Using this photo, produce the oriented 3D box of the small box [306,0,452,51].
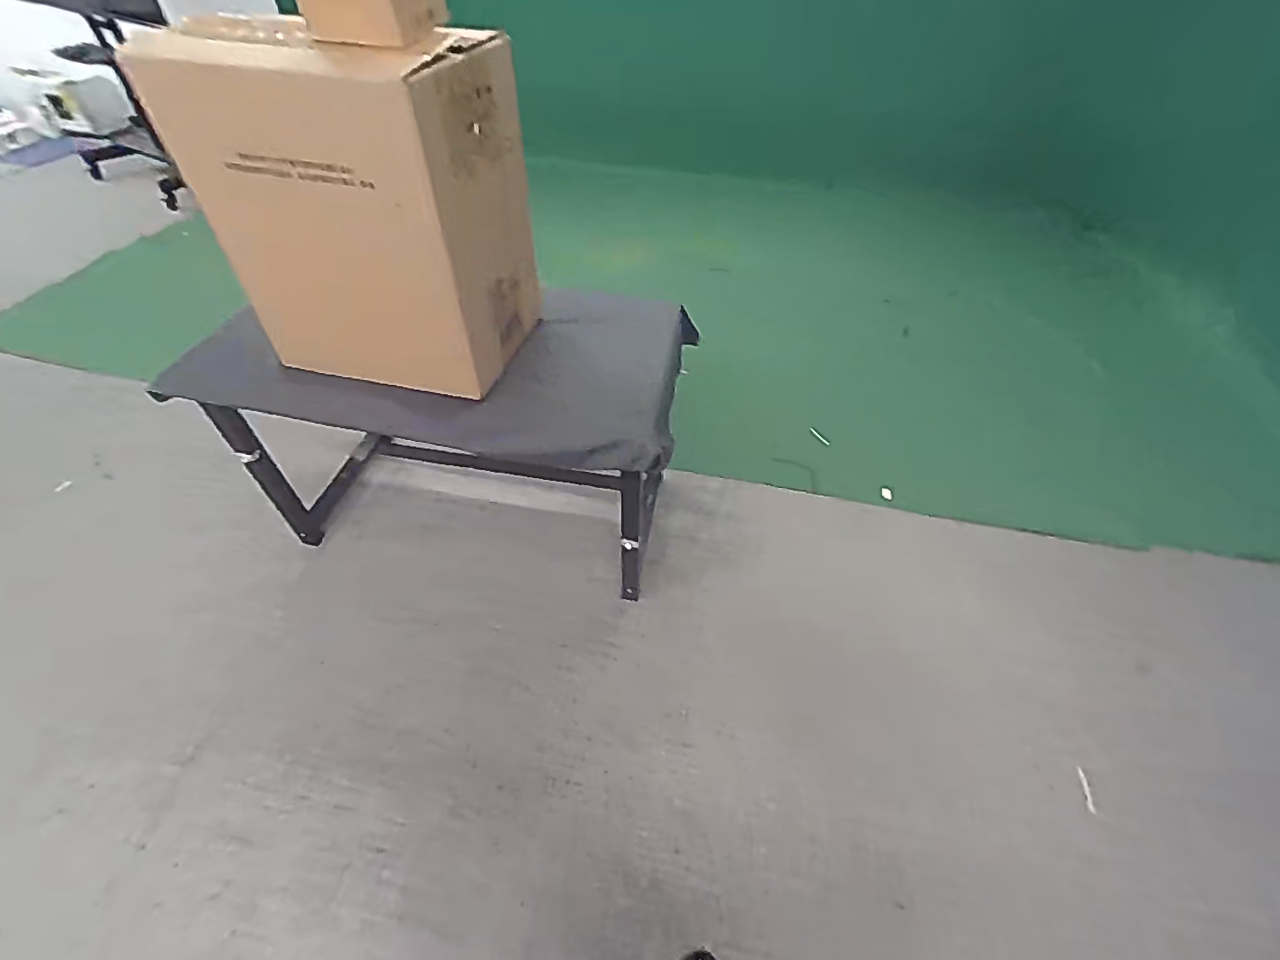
[{"bbox_3d":[-0.439,-0.825,0.878,0.179,0.176,0.168,12,55,9],"label":"small box"}]
